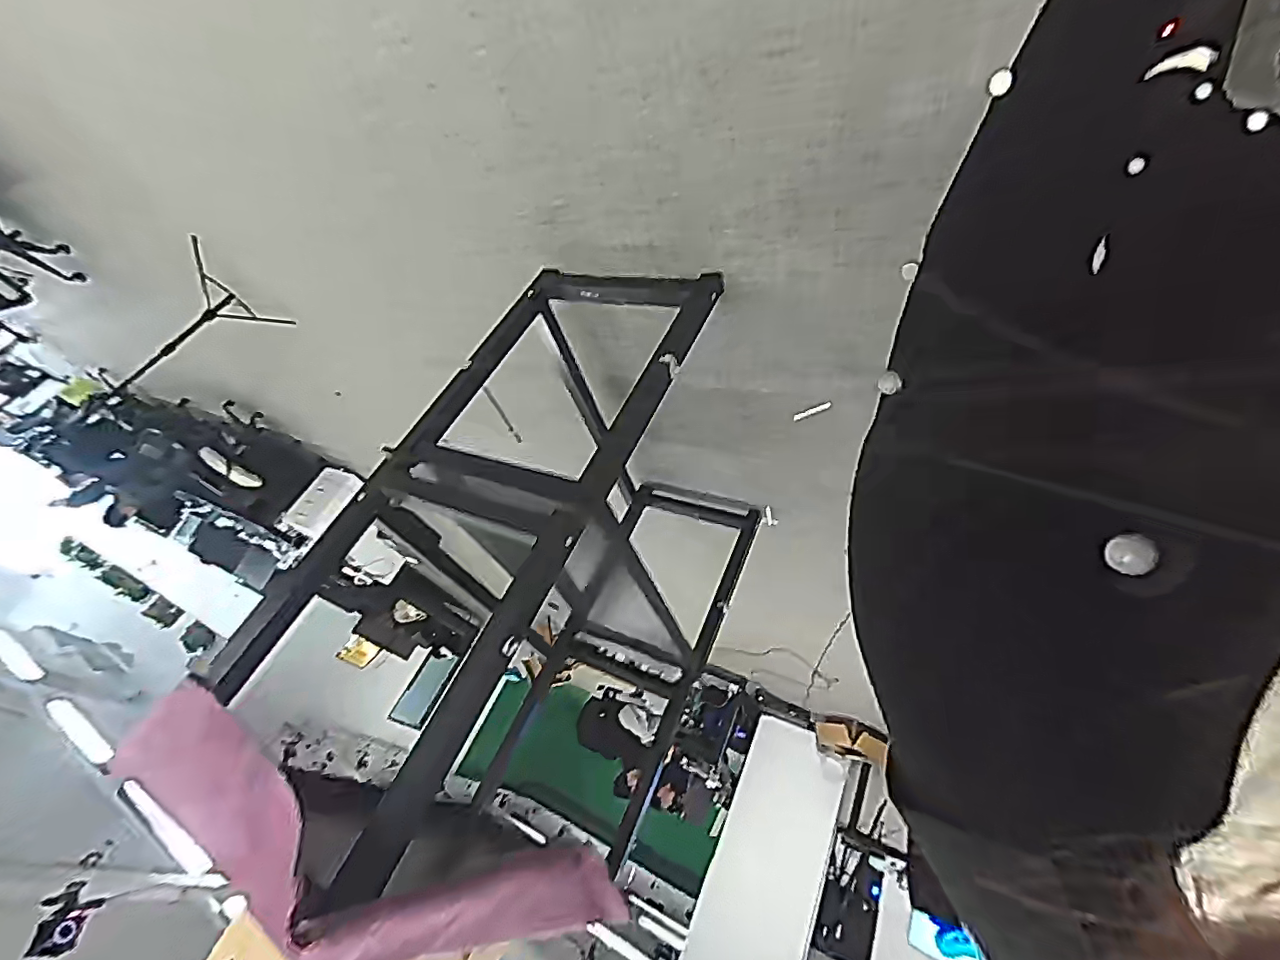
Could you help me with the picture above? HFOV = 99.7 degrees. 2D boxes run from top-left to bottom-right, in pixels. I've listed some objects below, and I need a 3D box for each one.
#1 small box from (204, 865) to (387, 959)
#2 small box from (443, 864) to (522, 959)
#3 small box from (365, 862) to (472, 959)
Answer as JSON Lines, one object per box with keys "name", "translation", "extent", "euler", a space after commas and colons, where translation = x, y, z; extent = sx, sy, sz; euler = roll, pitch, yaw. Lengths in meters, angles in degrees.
{"name": "small box", "translation": [-0.567, 0.773, 0.897], "extent": [0.179, 0.176, 0.168], "euler": [16, 152, 24]}
{"name": "small box", "translation": [-0.430, 1.094, 1.356], "extent": [0.168, 0.176, 0.179], "euler": [14, 151, 28]}
{"name": "small box", "translation": [-0.489, 0.958, 1.162], "extent": [0.179, 0.176, 0.168], "euler": [11, 149, 32]}
